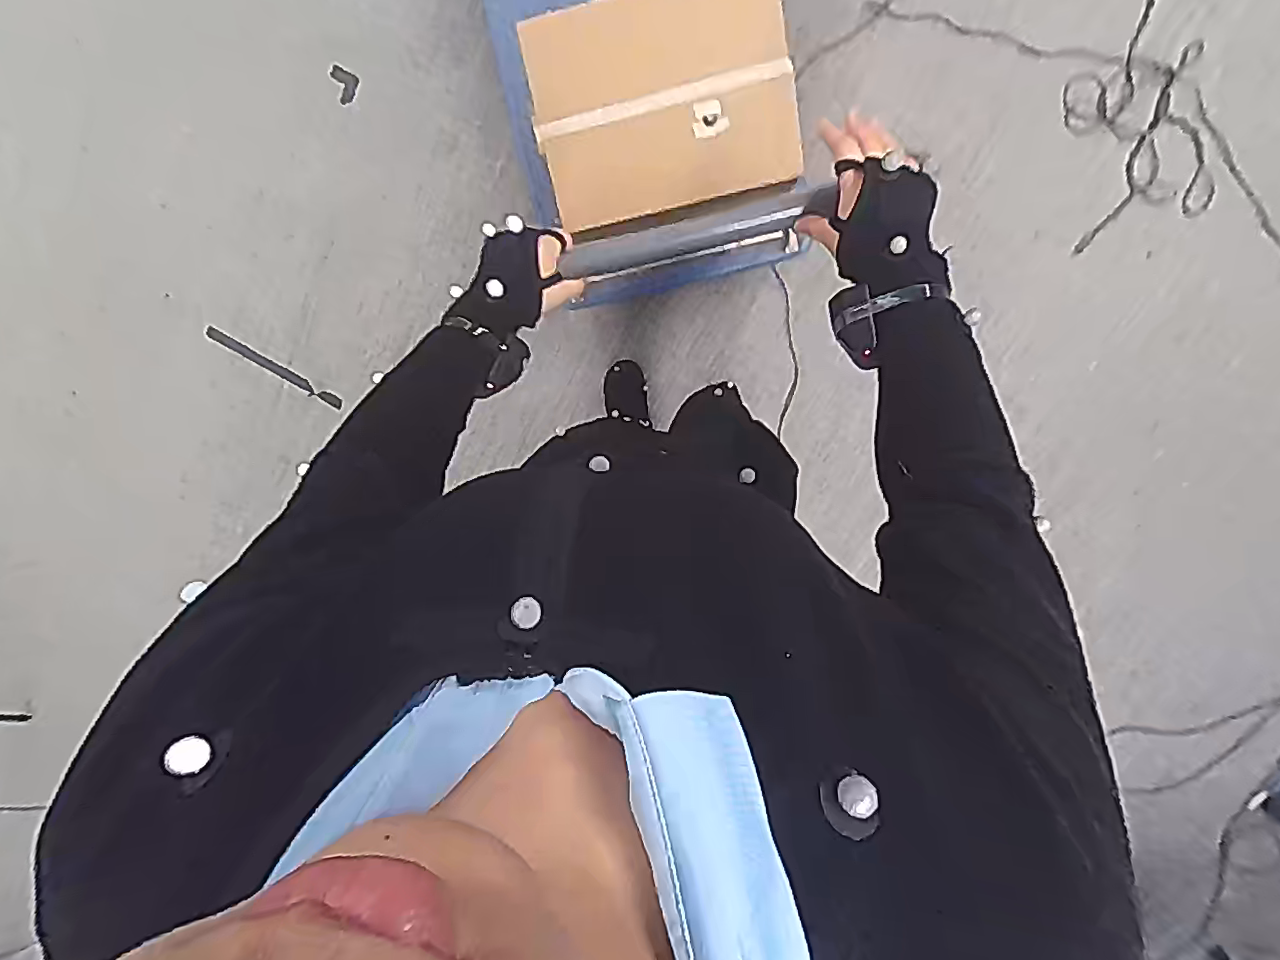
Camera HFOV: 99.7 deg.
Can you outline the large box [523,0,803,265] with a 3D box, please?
[{"bbox_3d":[0.044,-0.627,1.008,0.408,0.320,0.320,-12,104,4],"label":"large box"}]
